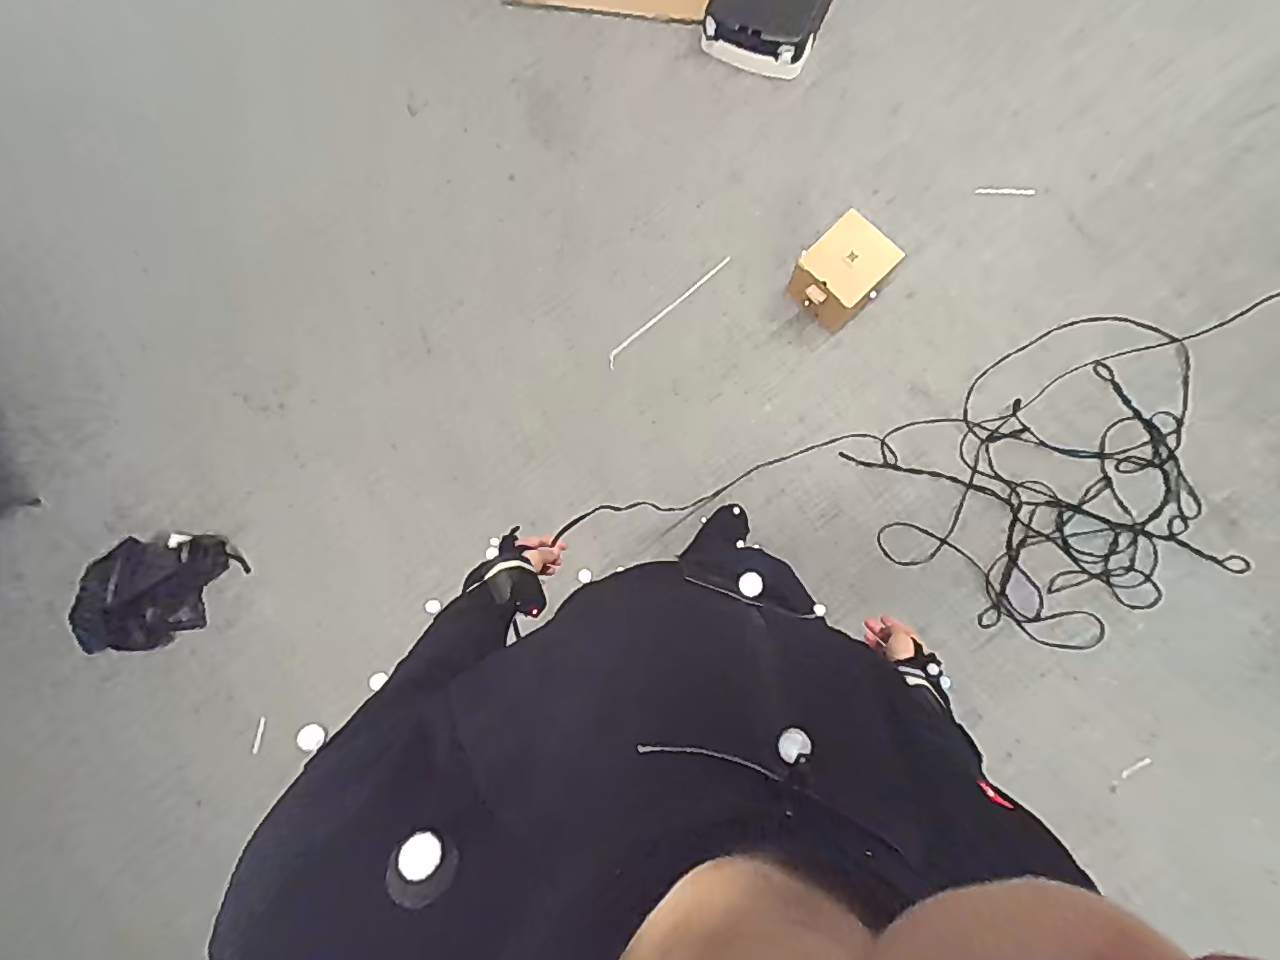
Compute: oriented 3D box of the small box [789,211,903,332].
[{"bbox_3d":[0.483,-0.492,1.298,0.179,0.176,0.168,-44,82,2],"label":"small box"}]
